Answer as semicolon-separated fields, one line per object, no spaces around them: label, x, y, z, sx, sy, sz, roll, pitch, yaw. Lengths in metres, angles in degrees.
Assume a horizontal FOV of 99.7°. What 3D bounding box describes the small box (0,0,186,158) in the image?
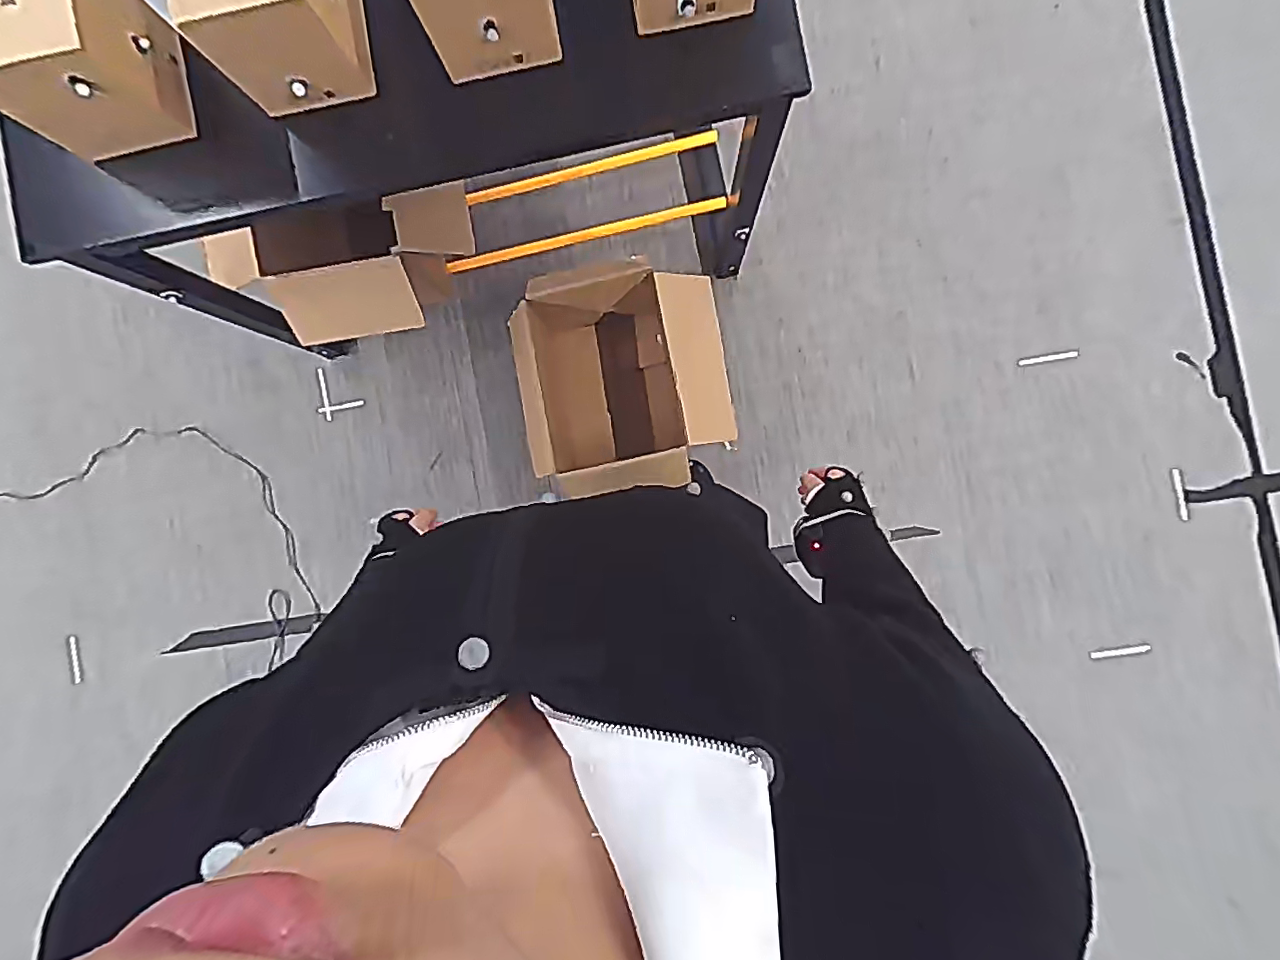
small box;-0.765;-0.577;0.734;0.179;0.176;0.168;-11;88;2

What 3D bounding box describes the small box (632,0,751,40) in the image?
small box;0.058;-0.732;0.698;0.168;0.176;0.179;-10;89;4

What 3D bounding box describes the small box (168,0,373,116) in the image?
small box;-0.487;-0.637;0.723;0.168;0.176;0.179;-10;89;3

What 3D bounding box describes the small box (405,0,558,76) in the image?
small box;-0.214;-0.677;0.711;0.168;0.176;0.179;-10;89;3
